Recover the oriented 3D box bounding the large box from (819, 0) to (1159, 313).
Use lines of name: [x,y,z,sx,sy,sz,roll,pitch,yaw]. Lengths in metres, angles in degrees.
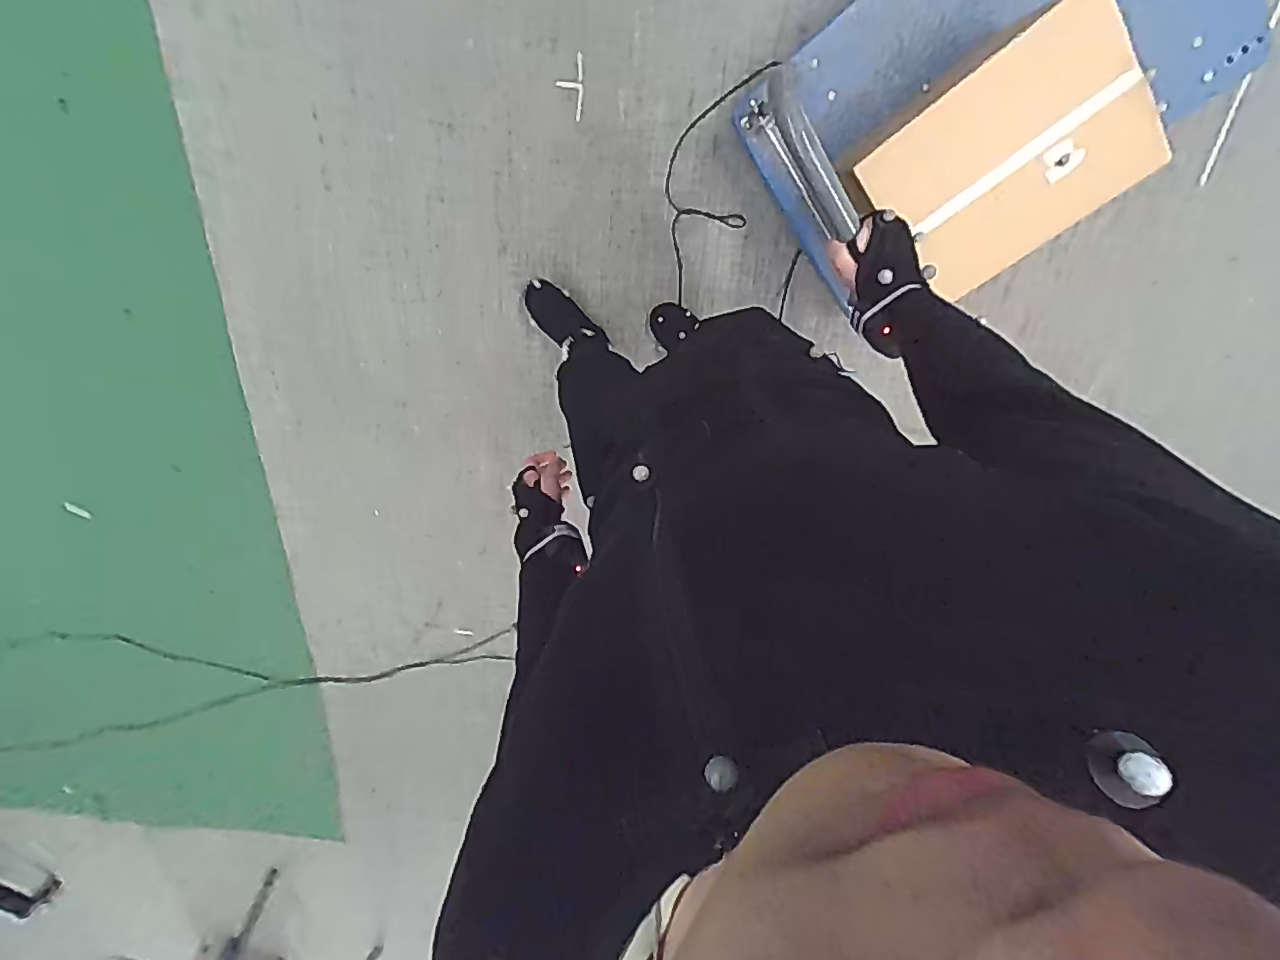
large box: [0.628,-0.594,1.052,0.408,0.320,0.320,-34,109,20]
